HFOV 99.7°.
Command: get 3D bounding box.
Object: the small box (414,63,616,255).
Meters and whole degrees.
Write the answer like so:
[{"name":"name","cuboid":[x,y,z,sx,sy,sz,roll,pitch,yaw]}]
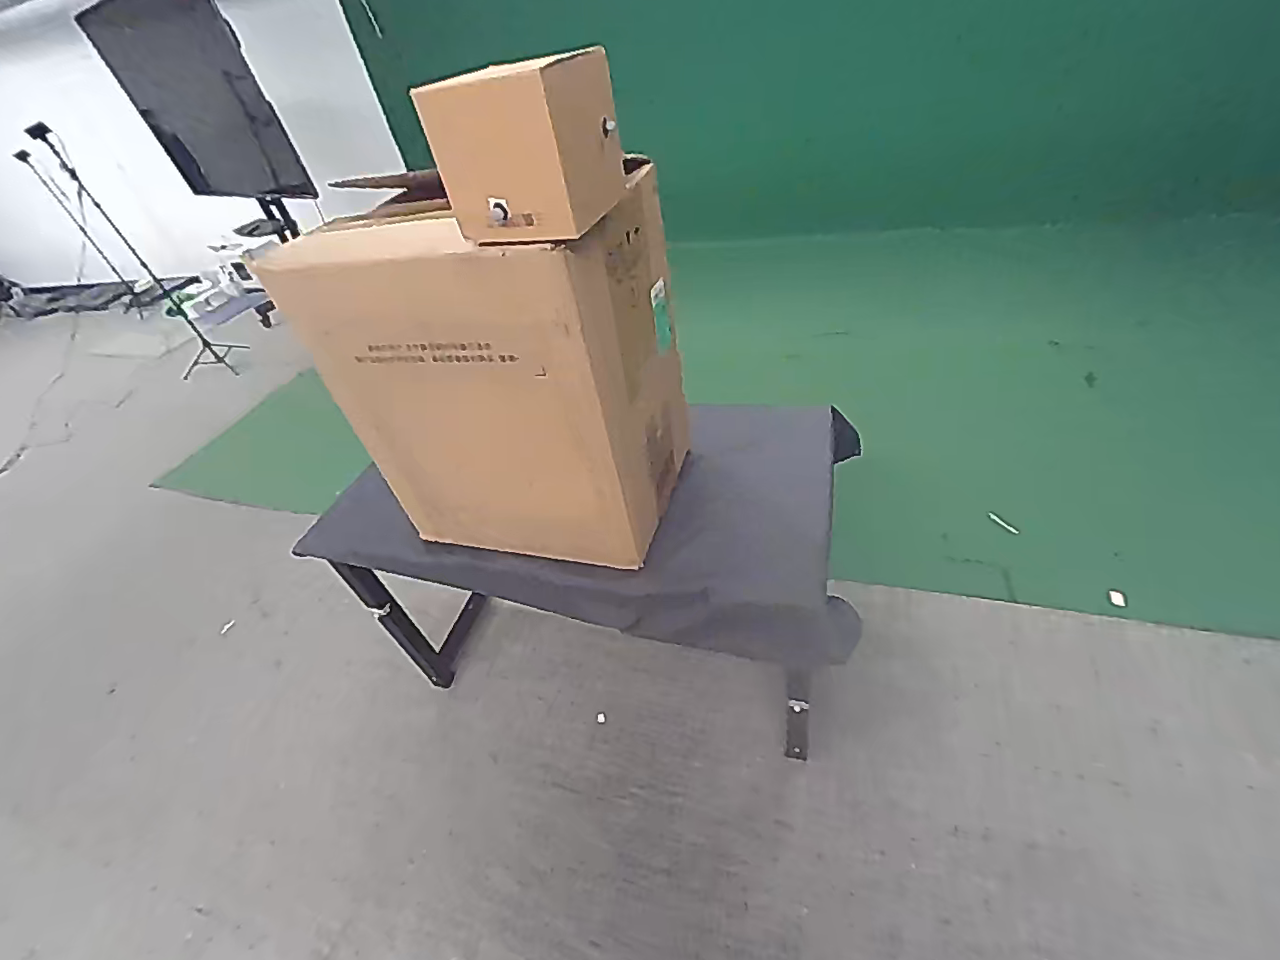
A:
[{"name":"small box","cuboid":[-0.139,-0.399,0.681,0.168,0.176,0.179,4,44,19]}]
